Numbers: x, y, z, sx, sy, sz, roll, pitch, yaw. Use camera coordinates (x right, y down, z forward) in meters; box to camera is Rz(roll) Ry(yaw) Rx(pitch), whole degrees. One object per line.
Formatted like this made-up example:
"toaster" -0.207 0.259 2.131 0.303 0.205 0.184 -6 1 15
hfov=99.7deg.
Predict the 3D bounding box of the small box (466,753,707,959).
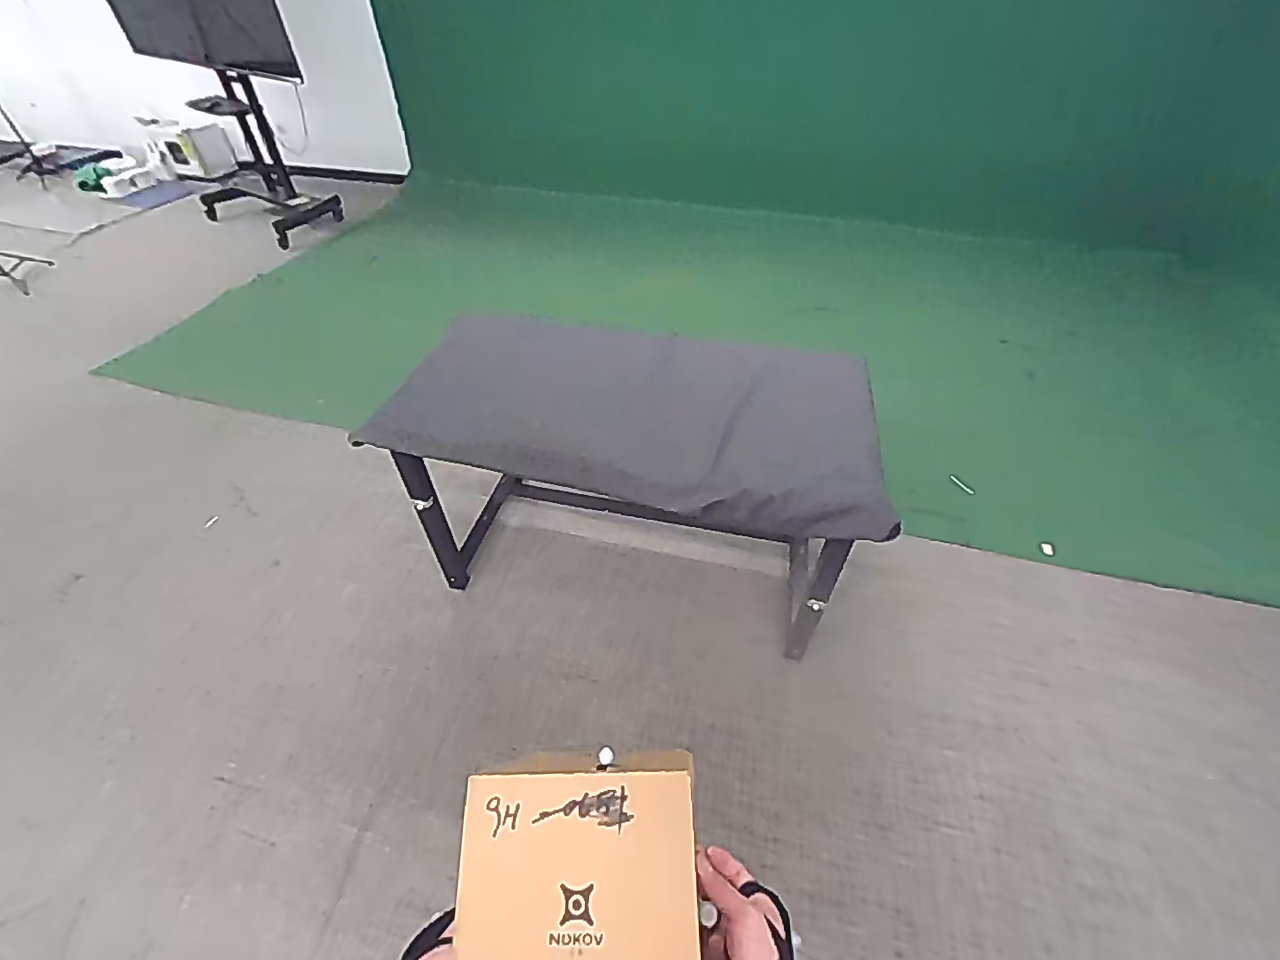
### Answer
"small box" -0.030 0.331 0.443 0.168 0.176 0.179 -3 69 3
